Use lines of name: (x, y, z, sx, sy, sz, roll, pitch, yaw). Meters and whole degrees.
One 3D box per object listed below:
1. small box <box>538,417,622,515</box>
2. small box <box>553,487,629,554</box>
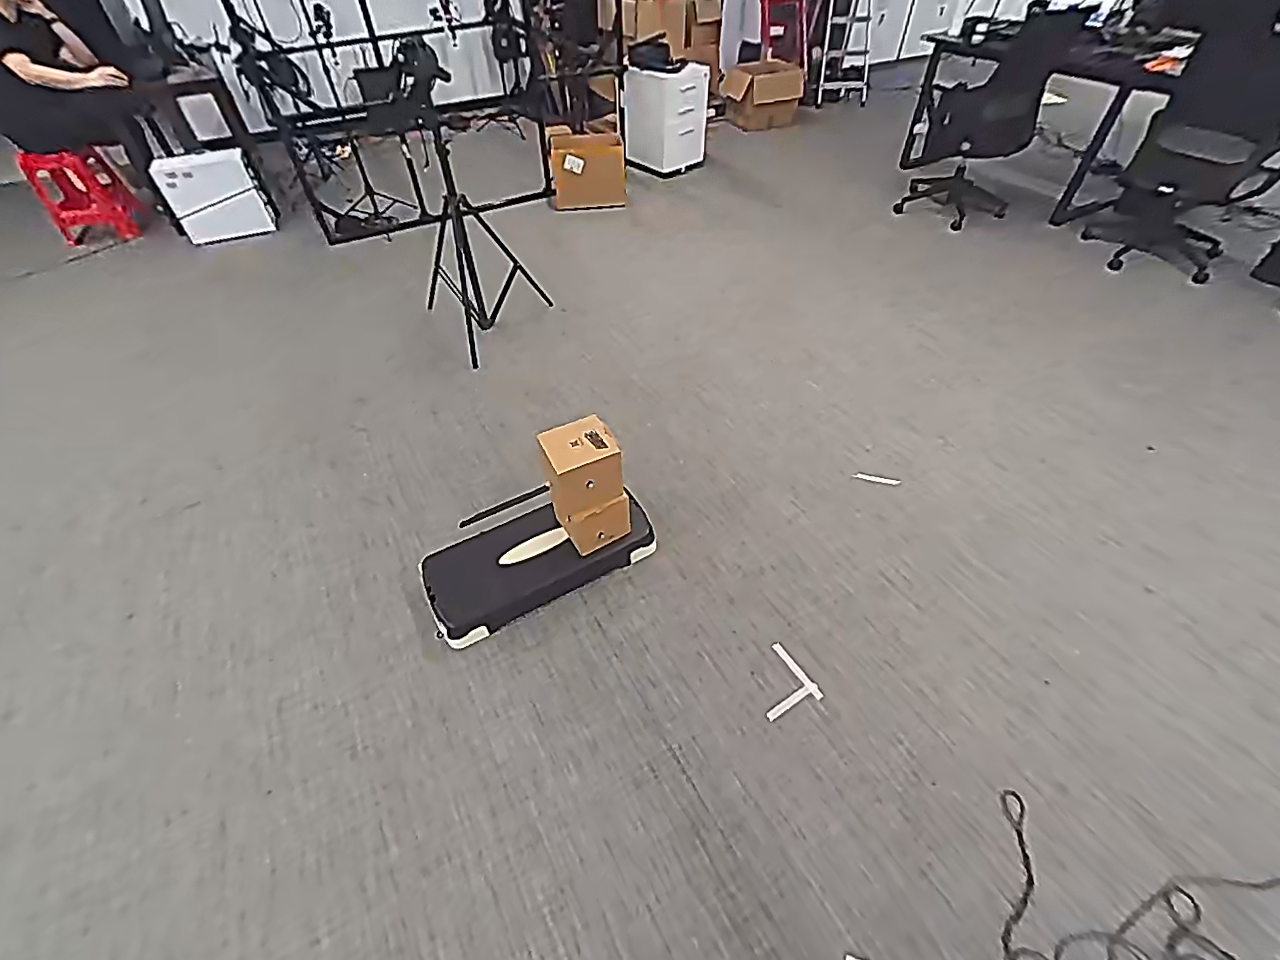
small box: (-0.158, -0.037, 1.461, 0.179, 0.176, 0.168, -21, 51, -17)
small box: (-0.144, 0.082, 1.575, 0.168, 0.176, 0.179, -25, 52, -21)
